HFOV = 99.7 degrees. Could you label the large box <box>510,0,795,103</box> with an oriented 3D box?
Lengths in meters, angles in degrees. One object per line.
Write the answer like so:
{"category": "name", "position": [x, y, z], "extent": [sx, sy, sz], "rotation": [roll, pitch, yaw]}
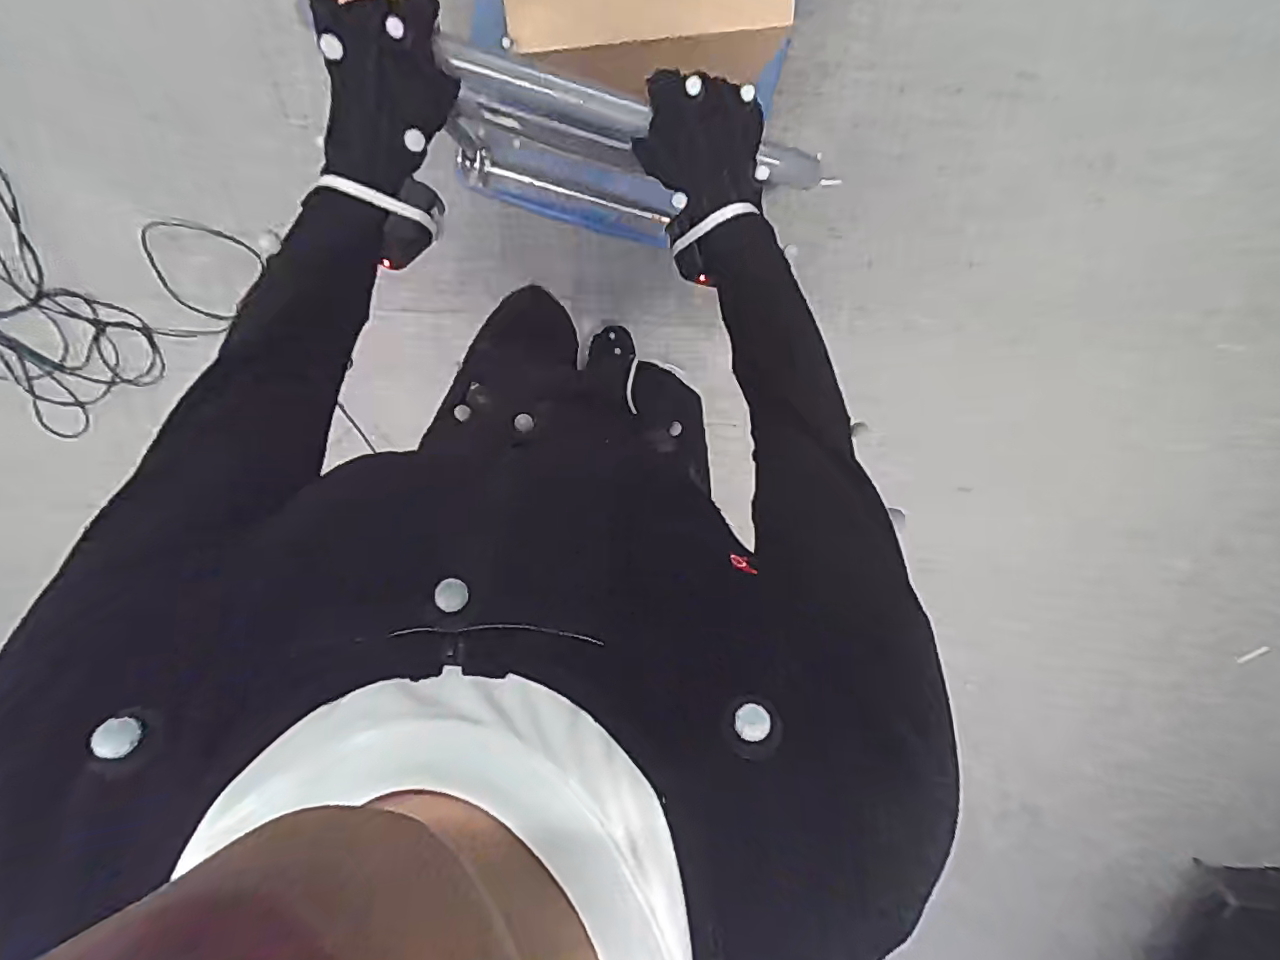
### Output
{"category": "large box", "position": [0.008, -0.828, 0.849], "extent": [0.408, 0.320, 0.320], "rotation": [-4, 111, 1]}
